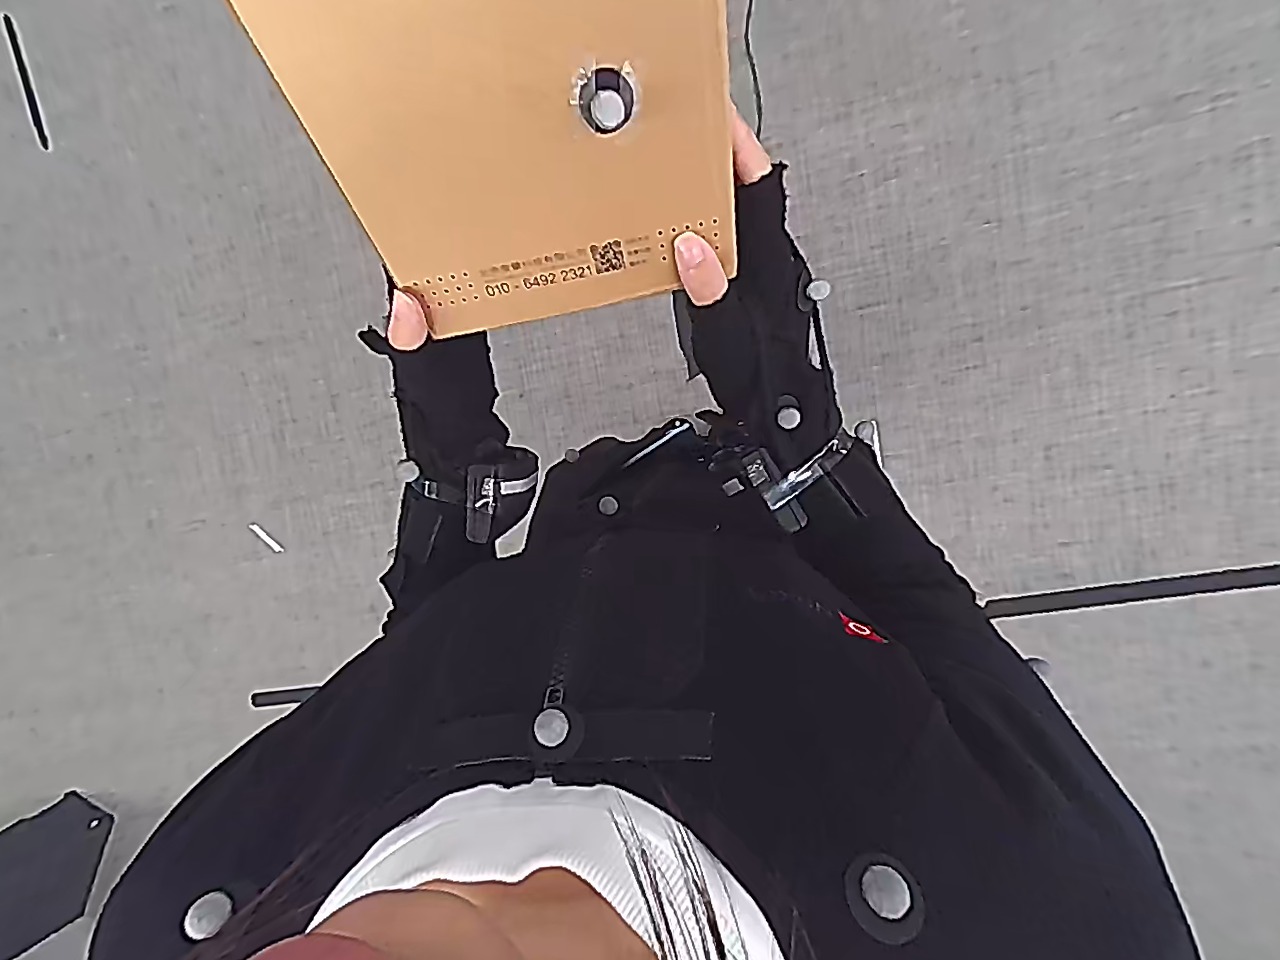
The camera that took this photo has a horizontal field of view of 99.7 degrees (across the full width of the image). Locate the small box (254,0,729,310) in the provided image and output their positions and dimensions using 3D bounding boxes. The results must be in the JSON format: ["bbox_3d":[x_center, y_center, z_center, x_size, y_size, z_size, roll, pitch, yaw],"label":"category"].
[{"bbox_3d":[-0.048,-0.209,0.287,0.168,0.176,0.179,-9,51,6],"label":"small box"}]
